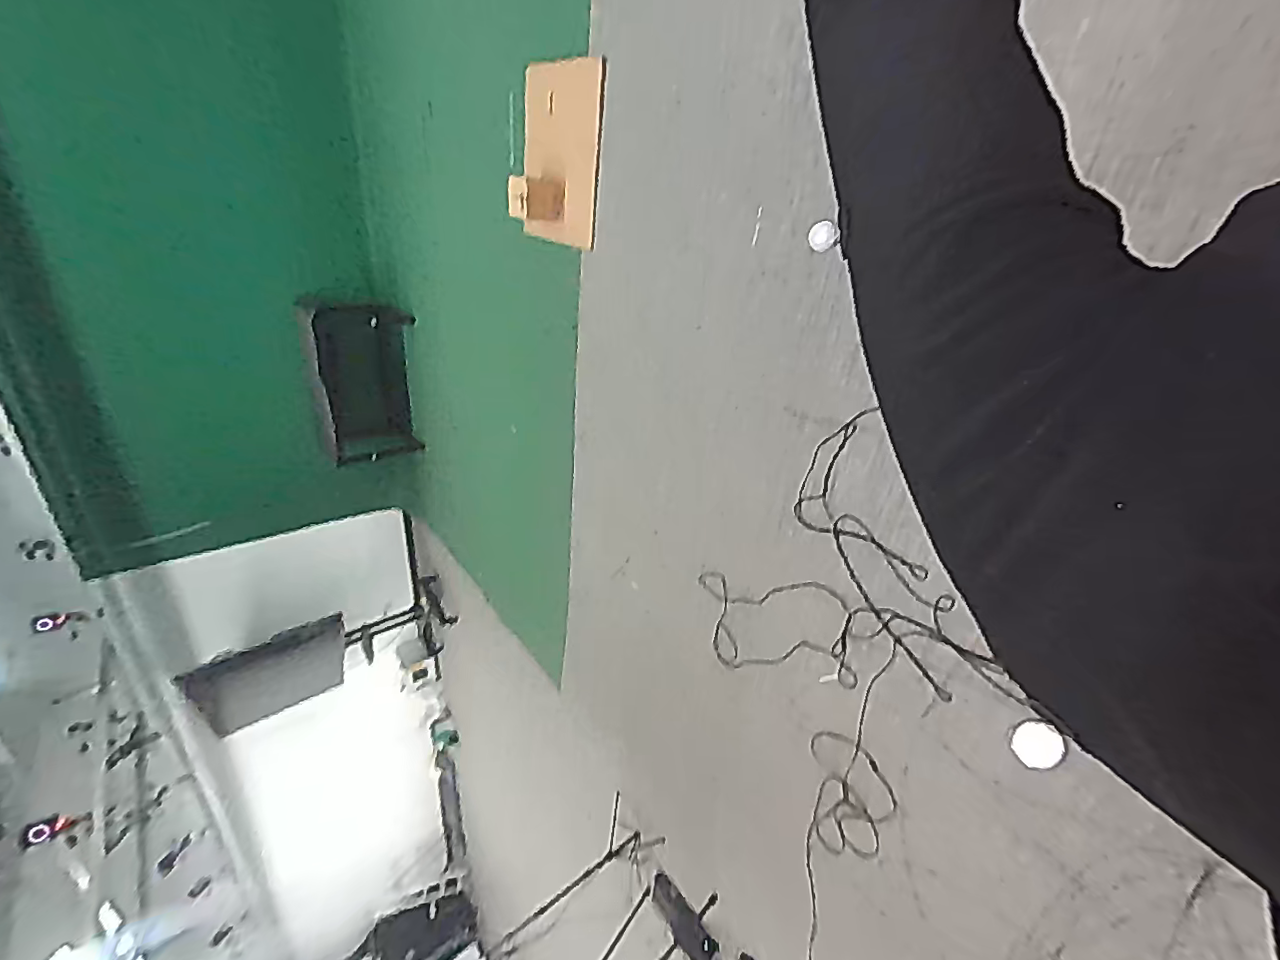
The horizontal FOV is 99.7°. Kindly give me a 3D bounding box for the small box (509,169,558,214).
[{"bbox_3d":[-0.488,-1.326,2.487,0.179,0.176,0.168,37,131,40],"label":"small box"}]
